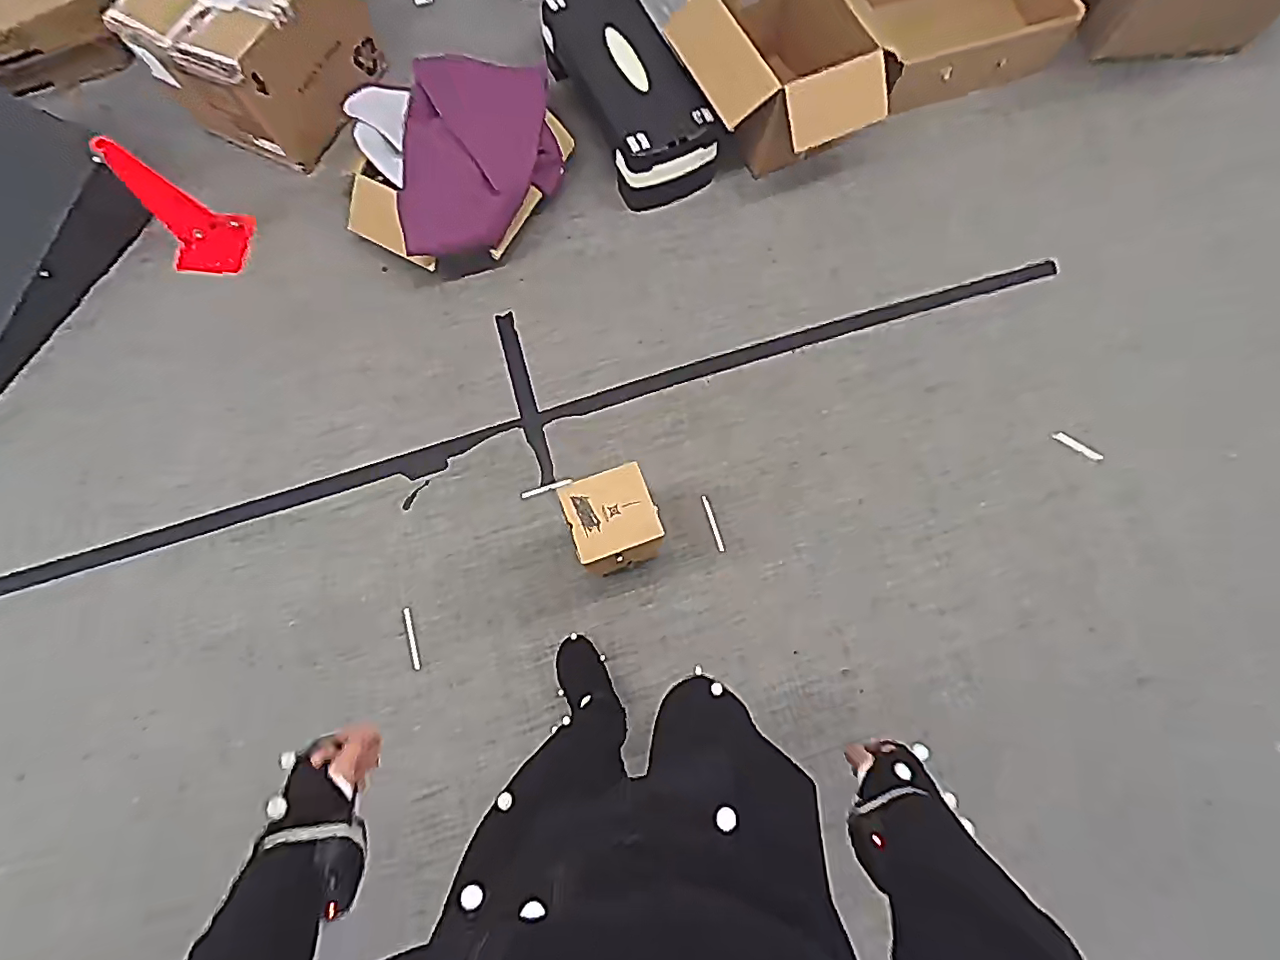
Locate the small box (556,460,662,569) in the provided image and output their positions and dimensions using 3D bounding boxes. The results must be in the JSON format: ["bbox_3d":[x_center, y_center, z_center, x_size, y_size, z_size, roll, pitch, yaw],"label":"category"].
[{"bbox_3d":[-0.062,0.080,1.146,0.179,0.176,0.168,-20,77,-6],"label":"small box"}]

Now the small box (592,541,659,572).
[{"bbox_3d":[-0.059,0.116,1.308,0.168,0.176,0.179,-20,78,-5],"label":"small box"}]
